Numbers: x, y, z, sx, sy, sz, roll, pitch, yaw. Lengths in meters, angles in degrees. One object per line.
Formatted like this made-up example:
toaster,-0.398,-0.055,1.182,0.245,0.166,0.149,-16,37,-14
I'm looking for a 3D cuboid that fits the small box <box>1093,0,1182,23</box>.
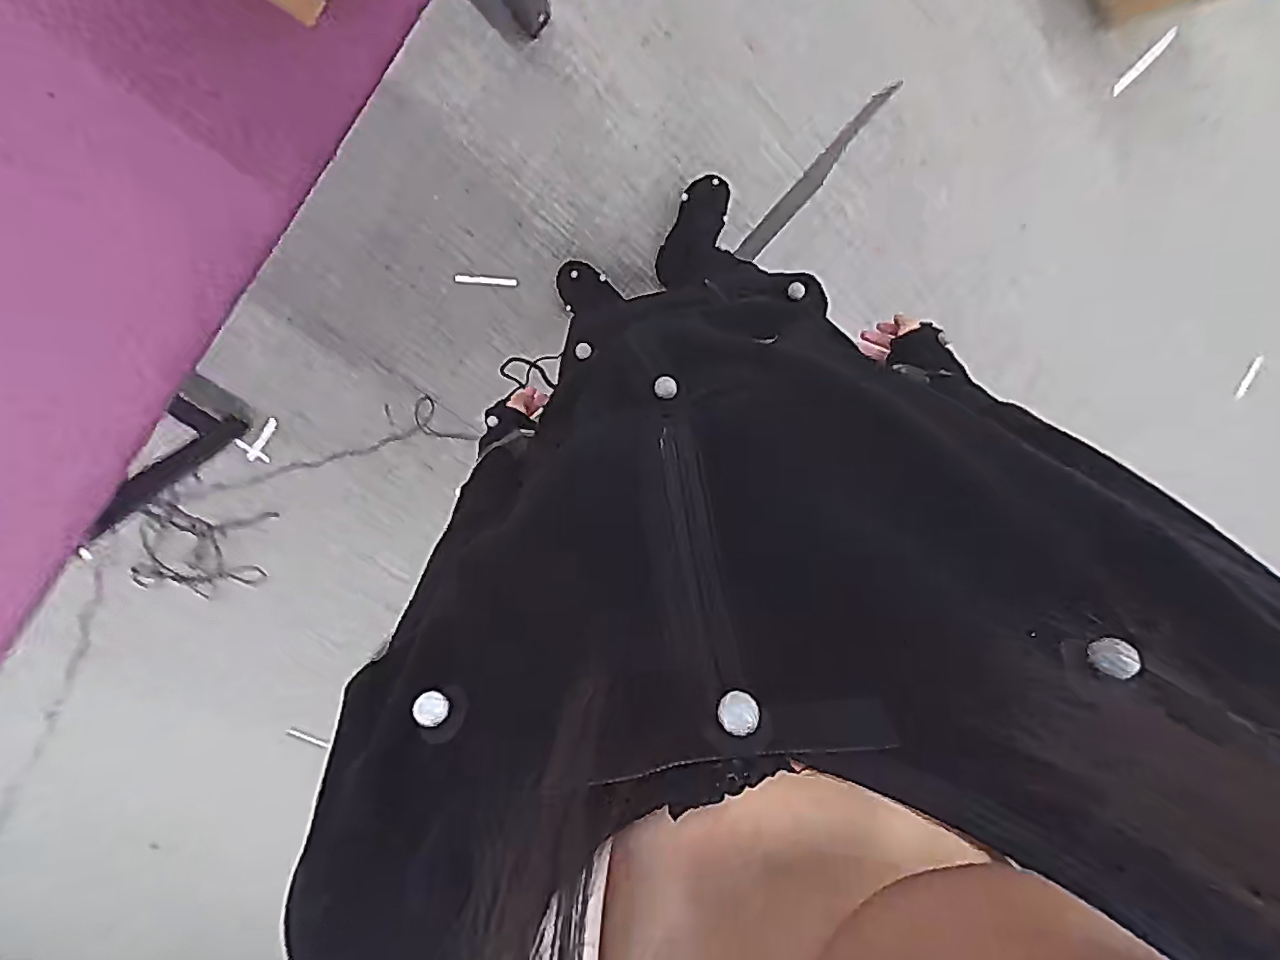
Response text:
small box,1.013,-1.036,1.043,0.168,0.176,0.179,-42,115,14
